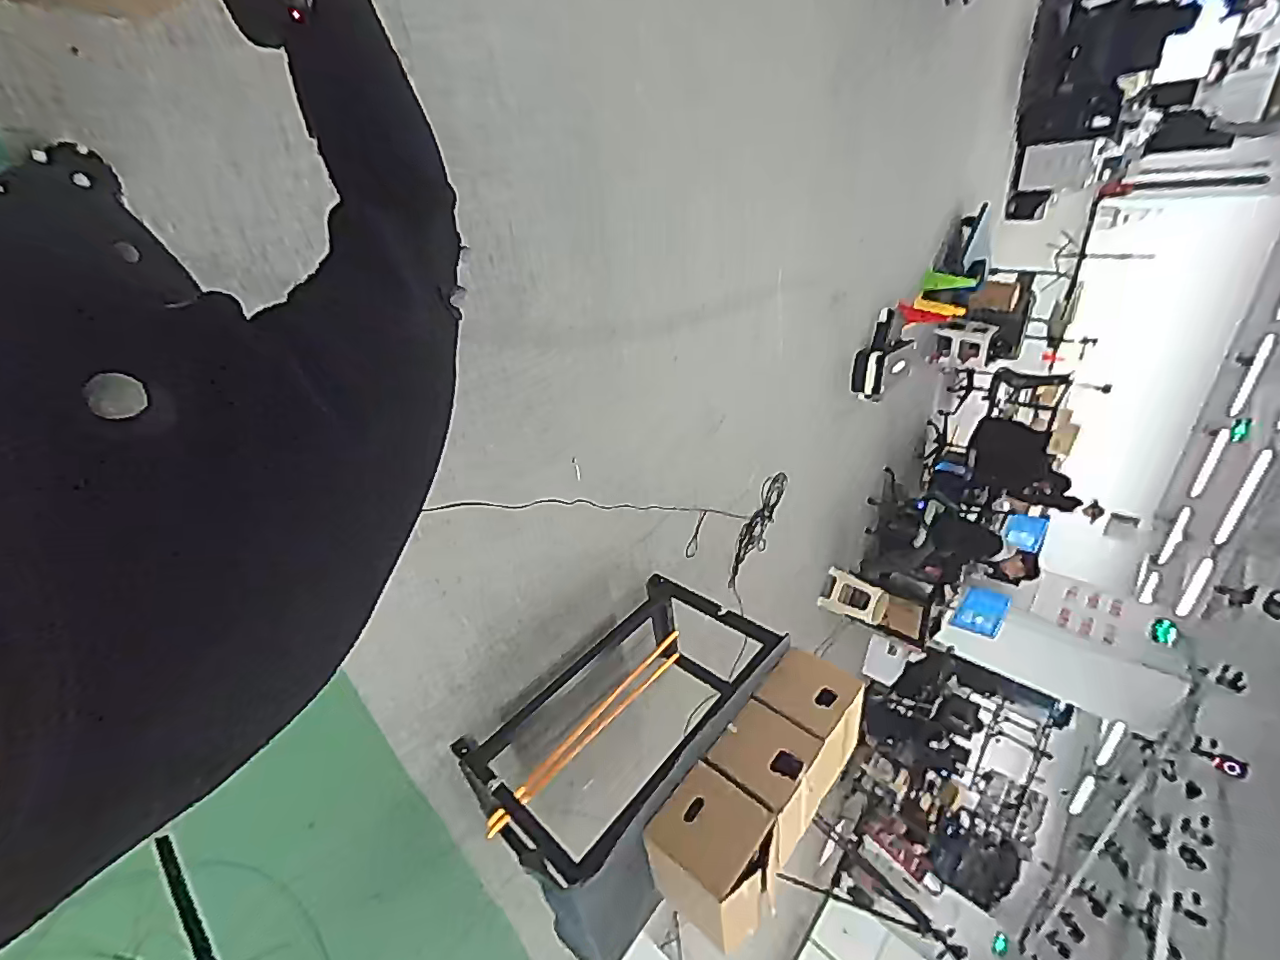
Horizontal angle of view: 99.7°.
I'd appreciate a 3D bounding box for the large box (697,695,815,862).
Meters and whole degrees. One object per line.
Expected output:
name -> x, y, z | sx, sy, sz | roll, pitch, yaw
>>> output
large box -> 0.437, 1.101, 2.015 | 0.320, 0.320, 0.408 | -36, 130, -36
